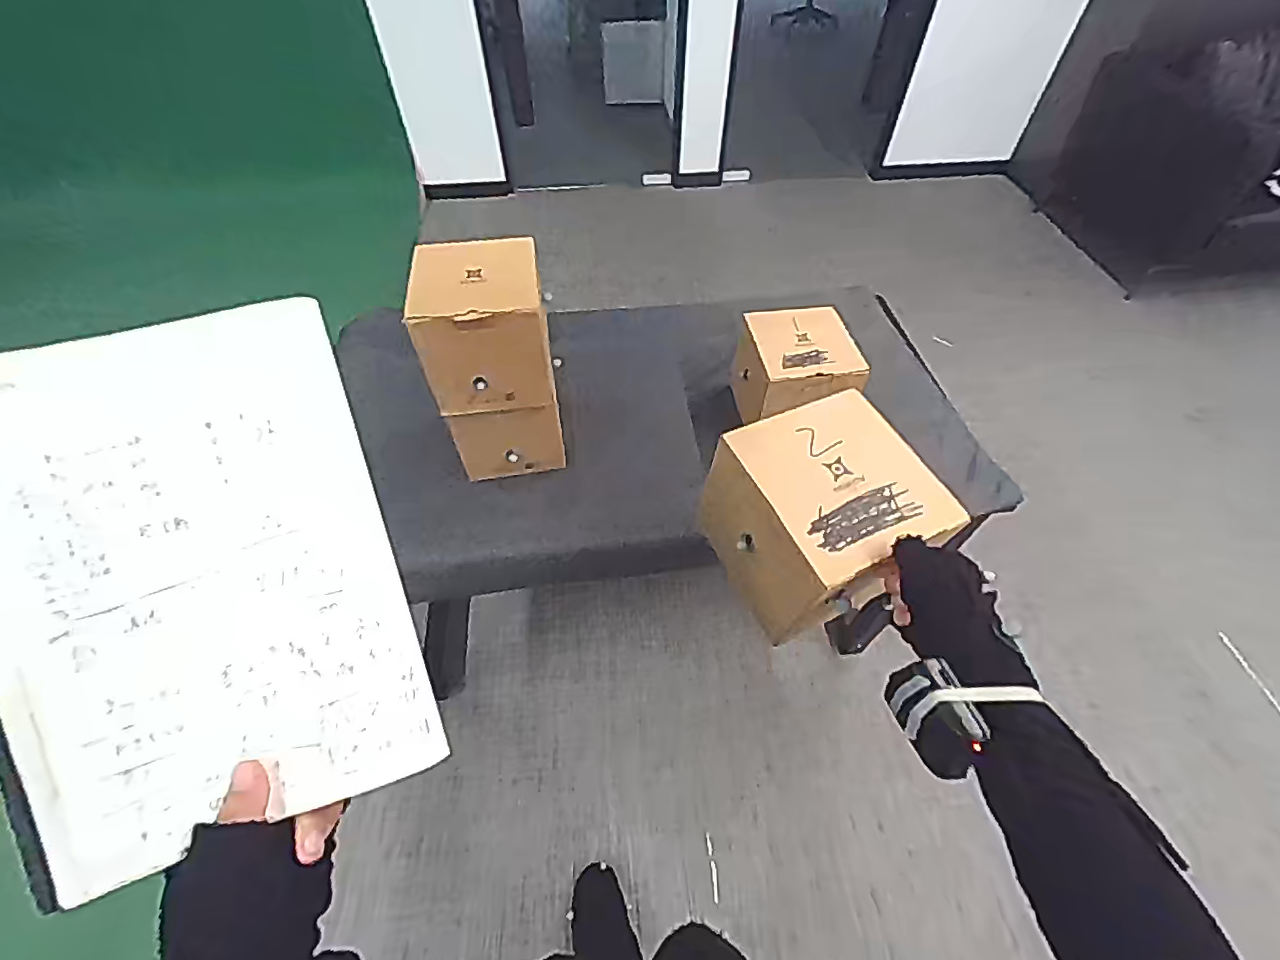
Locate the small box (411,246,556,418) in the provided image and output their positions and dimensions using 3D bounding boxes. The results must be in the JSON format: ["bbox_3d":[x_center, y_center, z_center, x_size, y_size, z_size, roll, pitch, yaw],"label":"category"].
[{"bbox_3d":[-0.216,-0.213,0.782,0.168,0.176,0.179,-7,52,-7],"label":"small box"}]

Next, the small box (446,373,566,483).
[{"bbox_3d":[-0.220,-0.119,0.914,0.168,0.176,0.179,-9,52,-7],"label":"small box"}]

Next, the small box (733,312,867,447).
[{"bbox_3d":[0.271,-0.172,0.963,0.168,0.176,0.179,-5,51,-5],"label":"small box"}]
